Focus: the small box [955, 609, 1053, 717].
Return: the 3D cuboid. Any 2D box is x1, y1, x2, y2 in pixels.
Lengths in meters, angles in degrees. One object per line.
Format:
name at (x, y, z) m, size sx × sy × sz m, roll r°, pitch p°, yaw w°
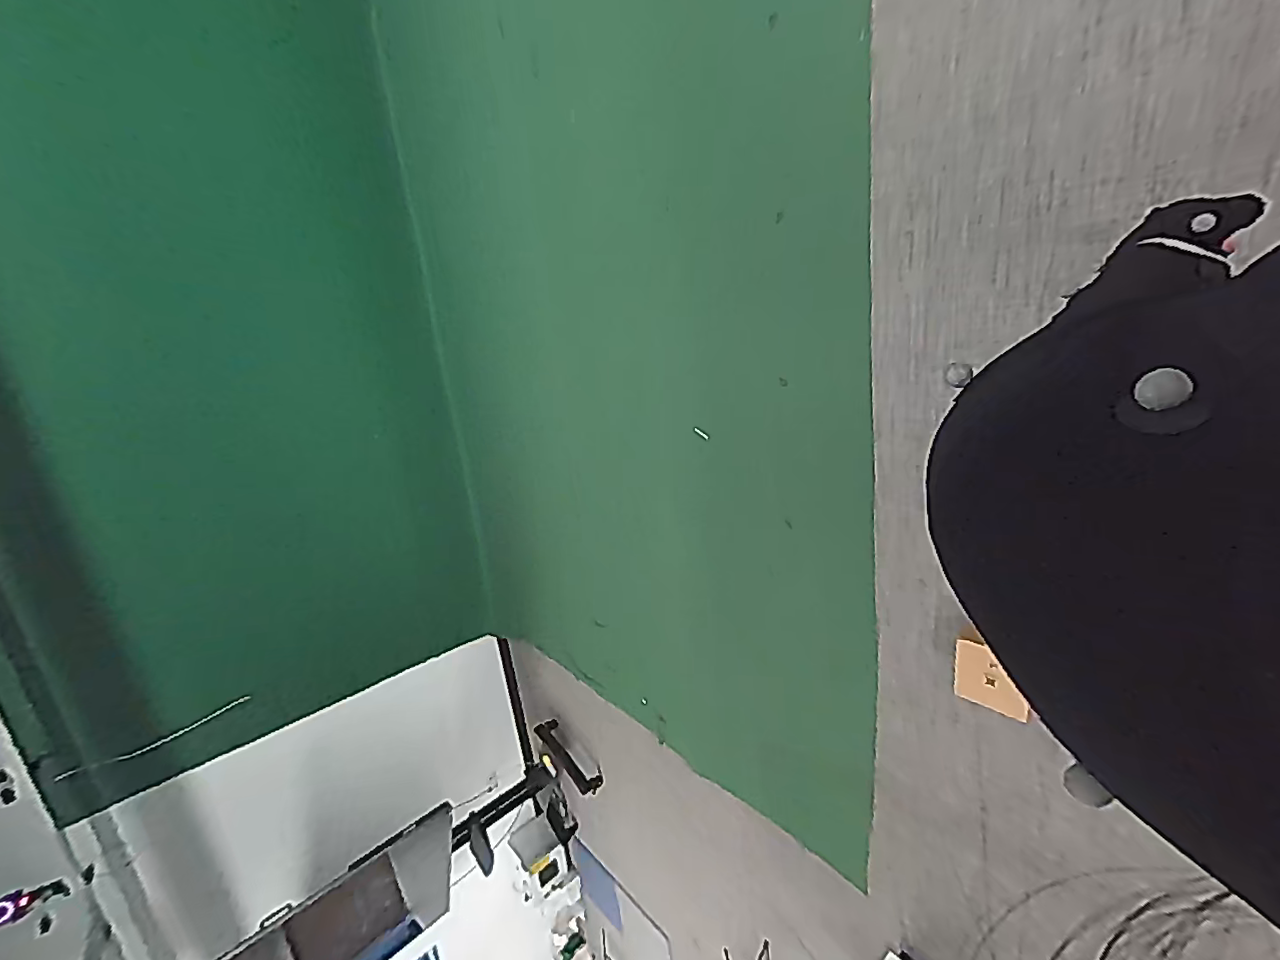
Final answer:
small box at (0.937, 0.463, 1.392) m, size 0.168 × 0.176 × 0.179 m, roll 13°, pitch 114°, yaw 48°
